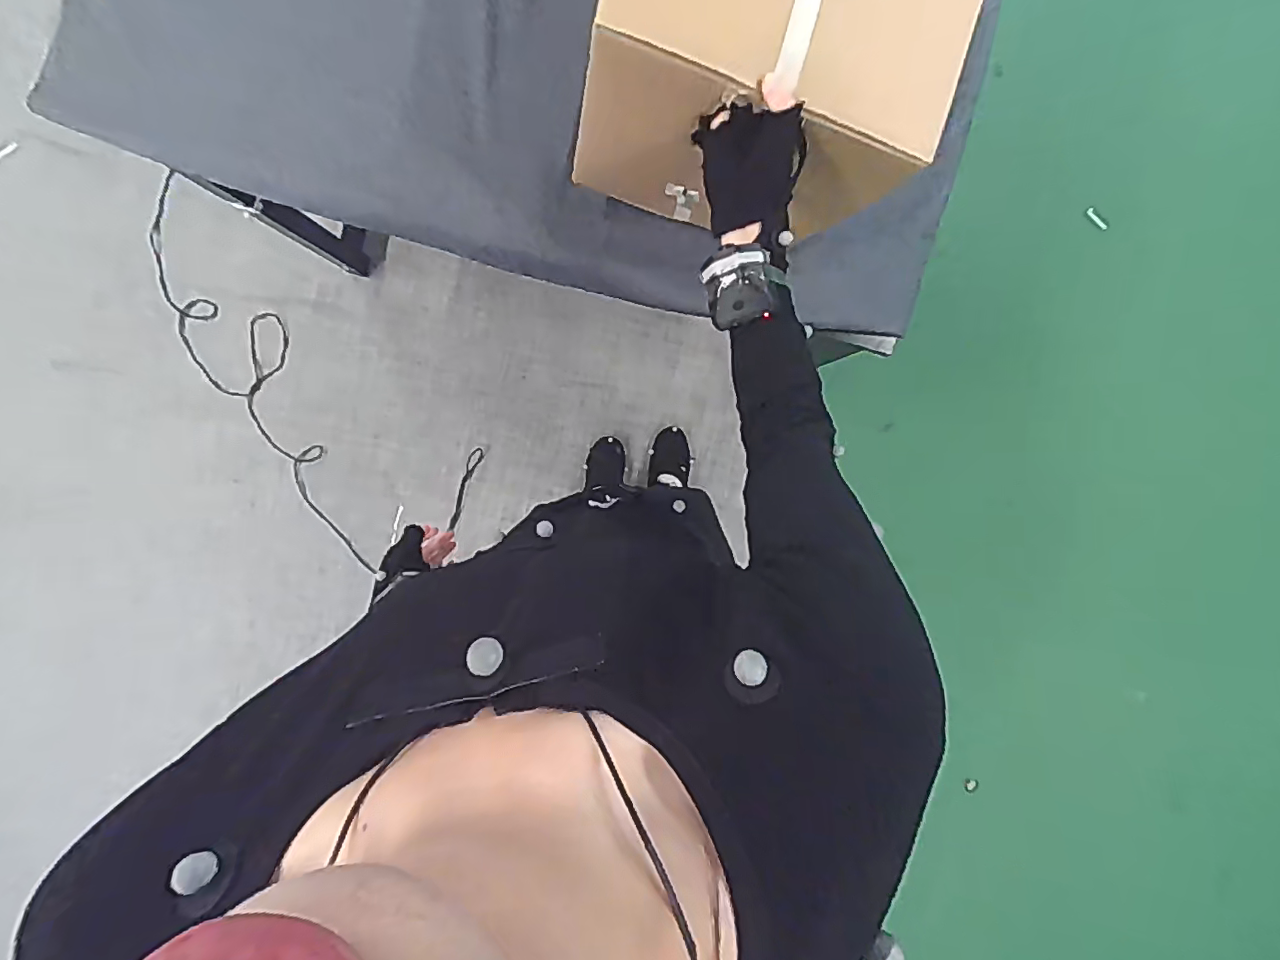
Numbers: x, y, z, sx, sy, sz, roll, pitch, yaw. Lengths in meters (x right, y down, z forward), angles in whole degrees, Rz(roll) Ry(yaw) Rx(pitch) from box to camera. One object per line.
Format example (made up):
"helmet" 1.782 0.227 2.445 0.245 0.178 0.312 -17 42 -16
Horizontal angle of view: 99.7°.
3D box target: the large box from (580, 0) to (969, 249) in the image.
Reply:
"large box" 0.131 -0.527 0.579 0.320 0.320 0.408 14 94 -12
